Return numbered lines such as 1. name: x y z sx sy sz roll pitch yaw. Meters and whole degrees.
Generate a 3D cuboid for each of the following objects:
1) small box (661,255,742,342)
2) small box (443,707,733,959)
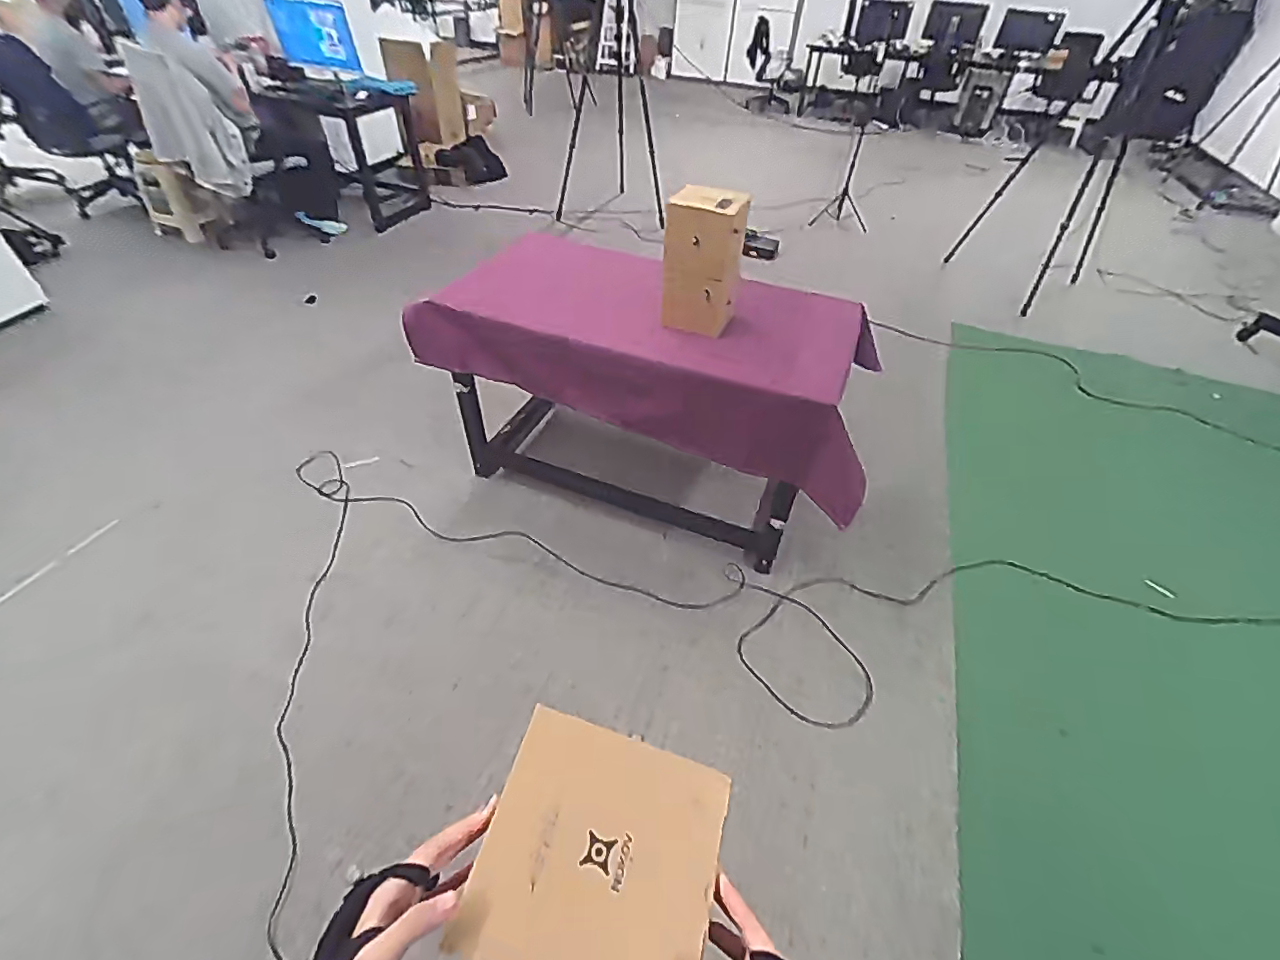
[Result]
1. small box: 0.171 -0.512 1.537 0.179 0.176 0.168 19 46 15
2. small box: -0.041 0.325 0.467 0.179 0.176 0.168 19 52 3
